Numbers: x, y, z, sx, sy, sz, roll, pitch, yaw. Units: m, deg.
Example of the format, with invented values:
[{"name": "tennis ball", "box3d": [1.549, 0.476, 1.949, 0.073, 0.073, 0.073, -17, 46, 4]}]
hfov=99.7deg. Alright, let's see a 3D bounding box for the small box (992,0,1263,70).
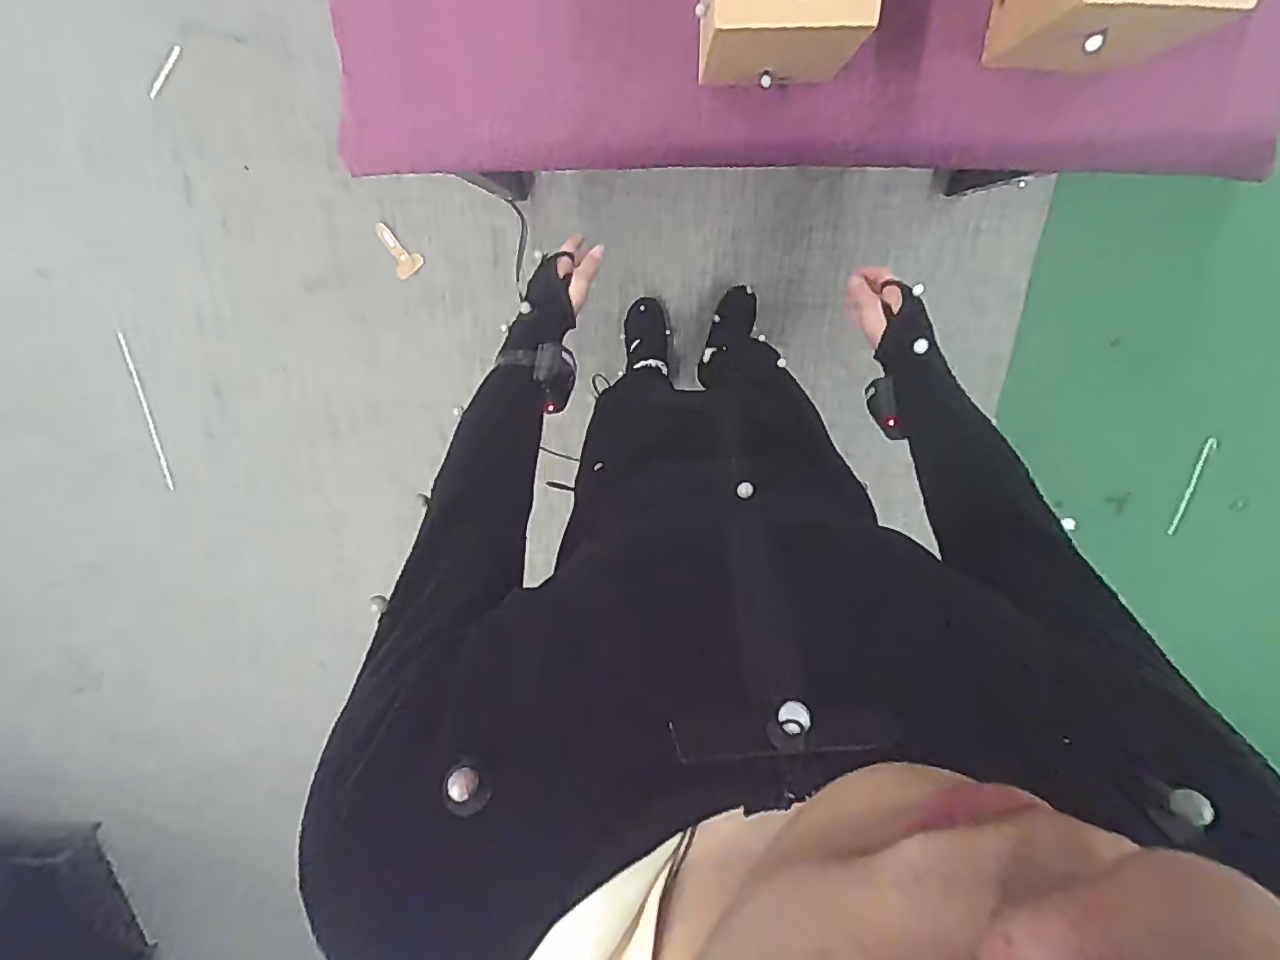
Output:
[{"name": "small box", "box3d": [0.514, -0.558, 0.565, 0.179, 0.176, 0.168, 3, 110, 1]}]
